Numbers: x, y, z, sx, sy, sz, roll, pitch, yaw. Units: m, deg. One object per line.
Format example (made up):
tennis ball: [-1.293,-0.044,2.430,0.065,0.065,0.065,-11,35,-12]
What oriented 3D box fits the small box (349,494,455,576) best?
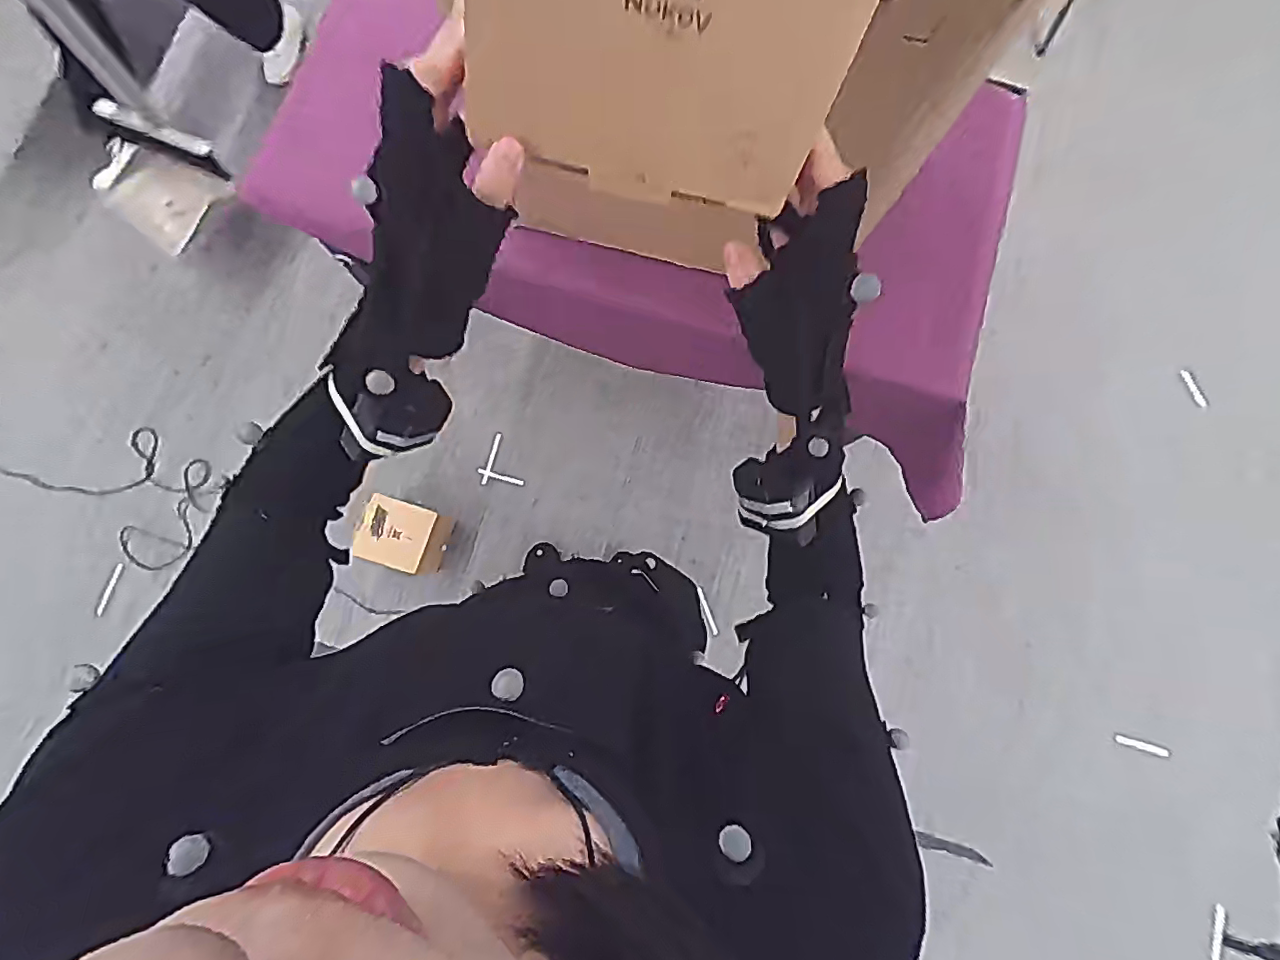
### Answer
small box: [-0.619,0.151,1.429,0.179,0.176,0.168,18,81,0]

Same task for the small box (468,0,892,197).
small box: [0.022,-0.269,0.239,0.168,0.179,0.176,7,55,-11]
